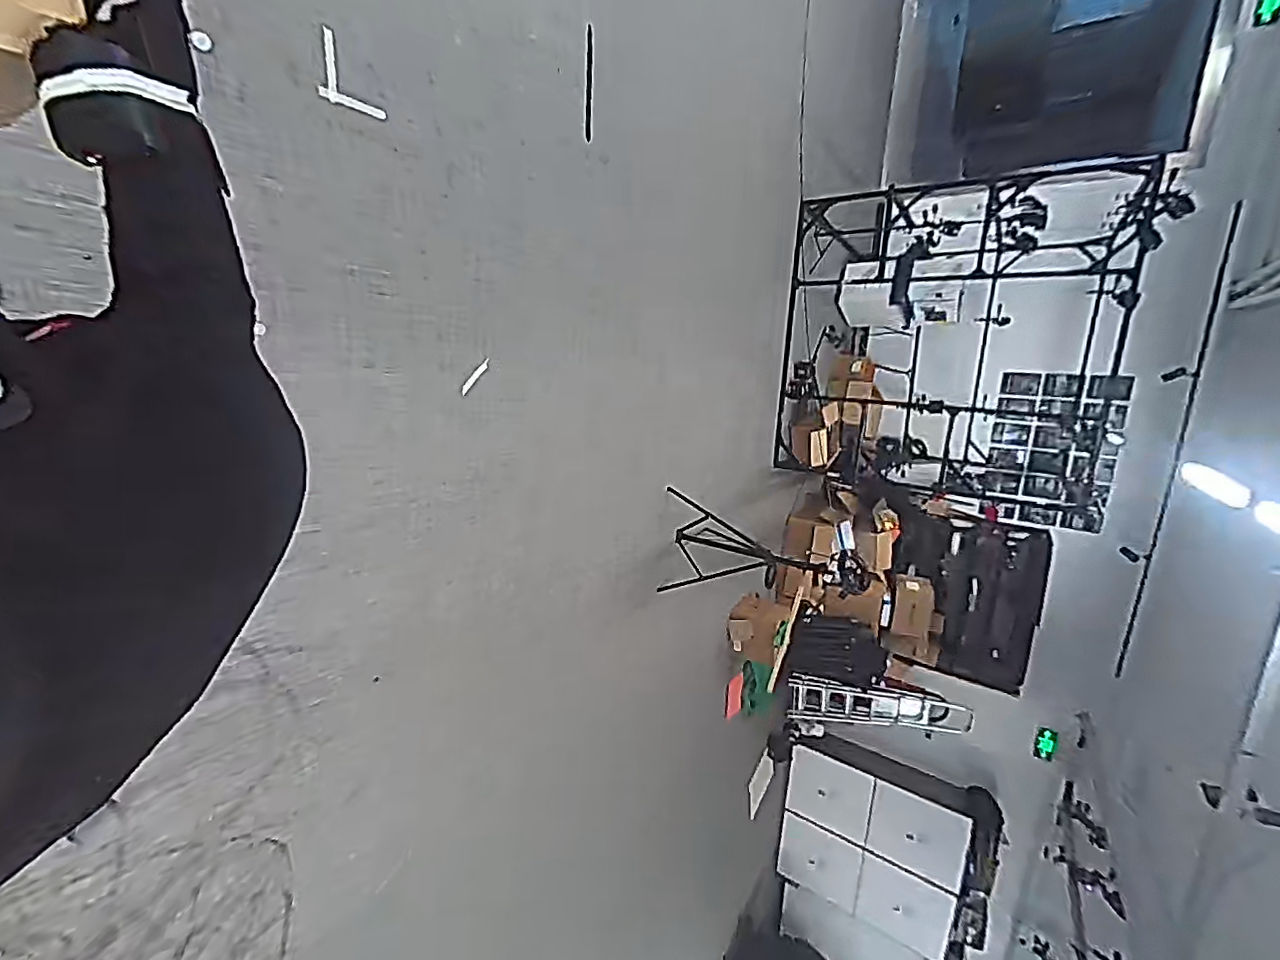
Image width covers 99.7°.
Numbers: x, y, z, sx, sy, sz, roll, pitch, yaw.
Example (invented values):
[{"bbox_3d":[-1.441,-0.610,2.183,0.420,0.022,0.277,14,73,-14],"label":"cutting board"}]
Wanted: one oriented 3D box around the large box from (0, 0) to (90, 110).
[{"bbox_3d":[-0.600,-0.420,0.244,0.408,0.320,0.320,-19,120,-54],"label":"large box"}]
